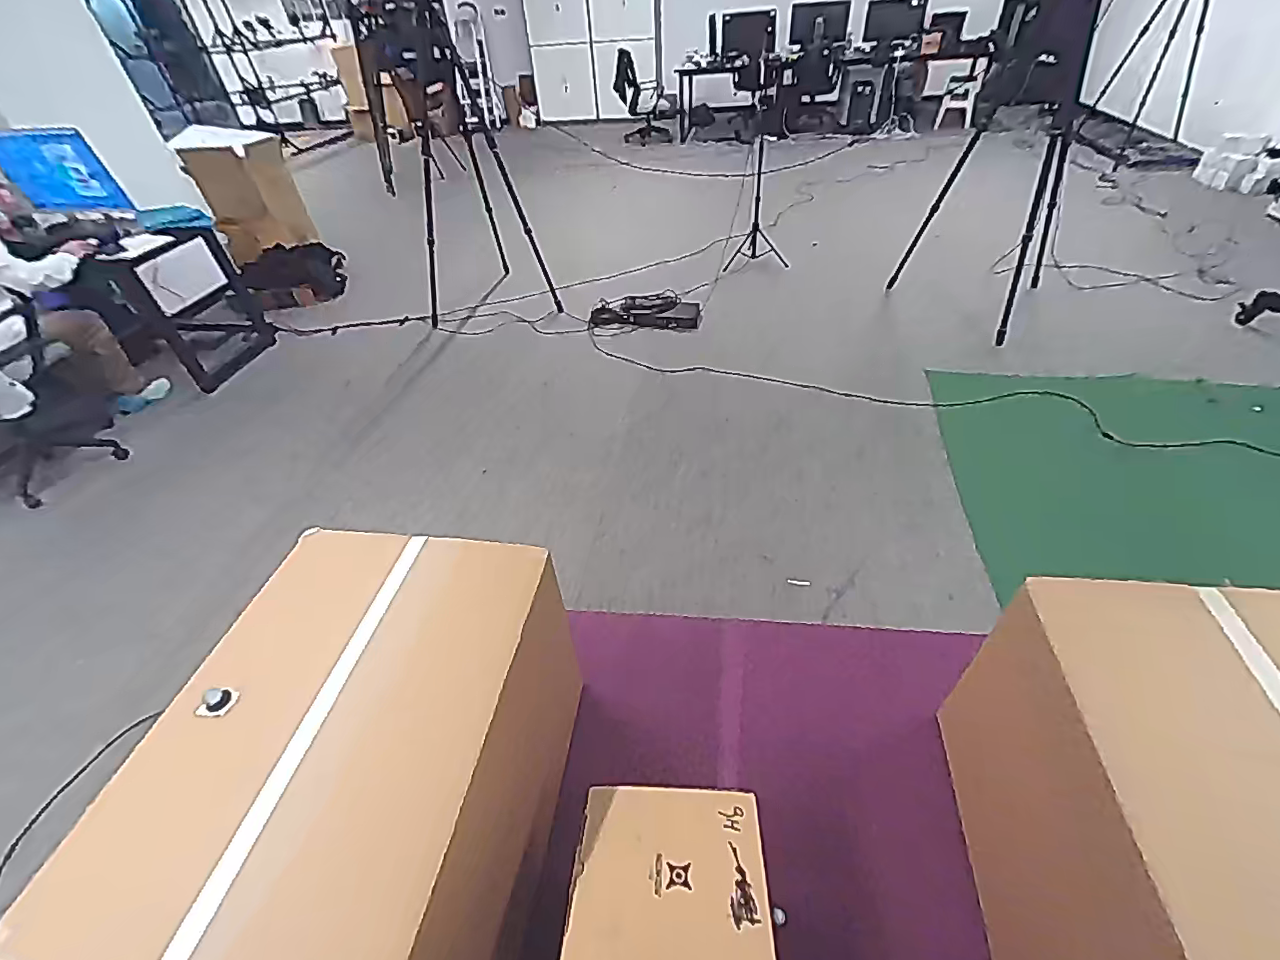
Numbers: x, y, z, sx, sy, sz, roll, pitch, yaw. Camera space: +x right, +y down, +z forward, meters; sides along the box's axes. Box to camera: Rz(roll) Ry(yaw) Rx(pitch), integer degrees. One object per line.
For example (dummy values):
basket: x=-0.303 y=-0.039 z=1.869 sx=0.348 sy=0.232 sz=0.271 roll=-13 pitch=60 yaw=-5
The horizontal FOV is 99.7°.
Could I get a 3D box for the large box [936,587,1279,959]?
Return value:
large box: x=0.521 y=0.362 z=0.493 sx=0.320 sy=0.320 sz=0.408 roll=4 pitch=43 yaw=10
